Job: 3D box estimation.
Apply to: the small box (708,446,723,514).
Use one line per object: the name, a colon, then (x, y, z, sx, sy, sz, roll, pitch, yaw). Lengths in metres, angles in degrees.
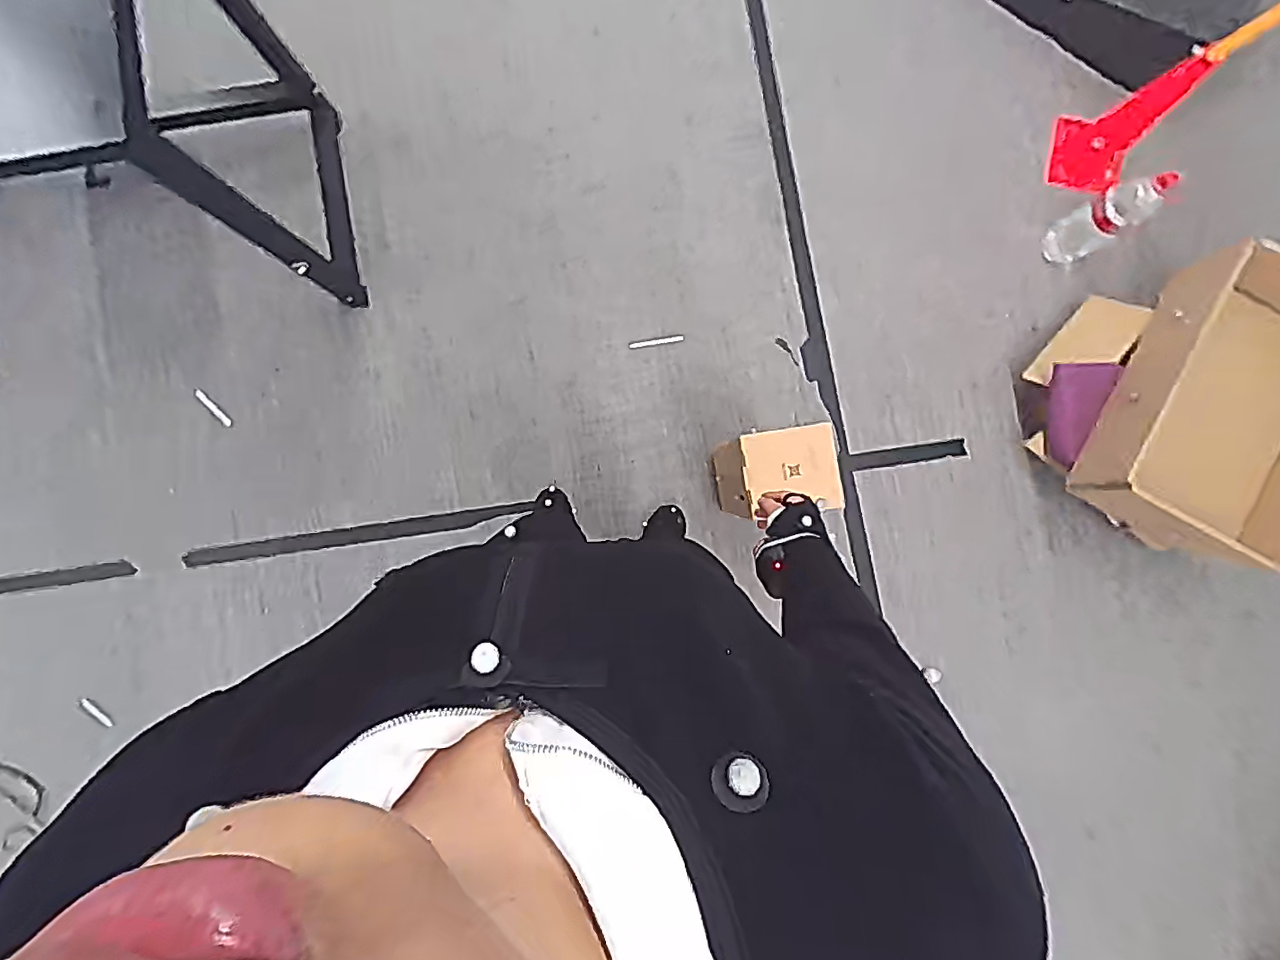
small box: (0.280, -0.005, 1.429, 0.168, 0.176, 0.179, -8, 88, 0)

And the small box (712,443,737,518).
small box: (0.274, -0.008, 1.265, 0.179, 0.176, 0.168, -8, 88, 1)

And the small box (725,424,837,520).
small box: (0.277, -0.012, 1.103, 0.179, 0.176, 0.168, -9, 89, -1)
